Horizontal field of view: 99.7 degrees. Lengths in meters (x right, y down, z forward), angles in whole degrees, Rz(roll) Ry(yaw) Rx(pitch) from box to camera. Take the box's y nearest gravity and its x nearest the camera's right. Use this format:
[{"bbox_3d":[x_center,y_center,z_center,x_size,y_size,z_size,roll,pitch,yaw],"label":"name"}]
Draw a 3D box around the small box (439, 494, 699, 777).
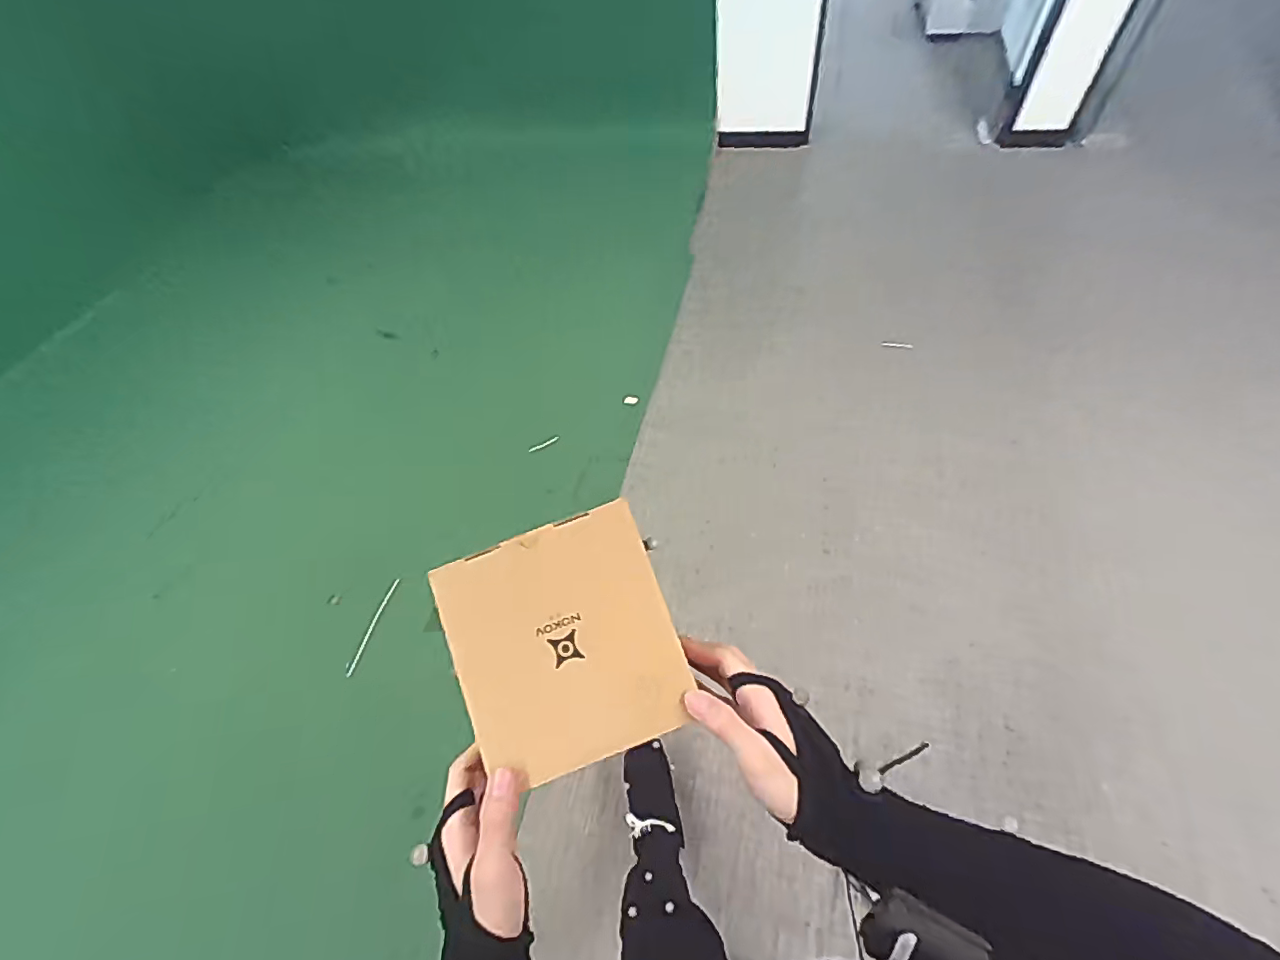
[{"bbox_3d":[-0.055,0.131,0.499,0.168,0.176,0.179,-21,78,-3],"label":"small box"}]
